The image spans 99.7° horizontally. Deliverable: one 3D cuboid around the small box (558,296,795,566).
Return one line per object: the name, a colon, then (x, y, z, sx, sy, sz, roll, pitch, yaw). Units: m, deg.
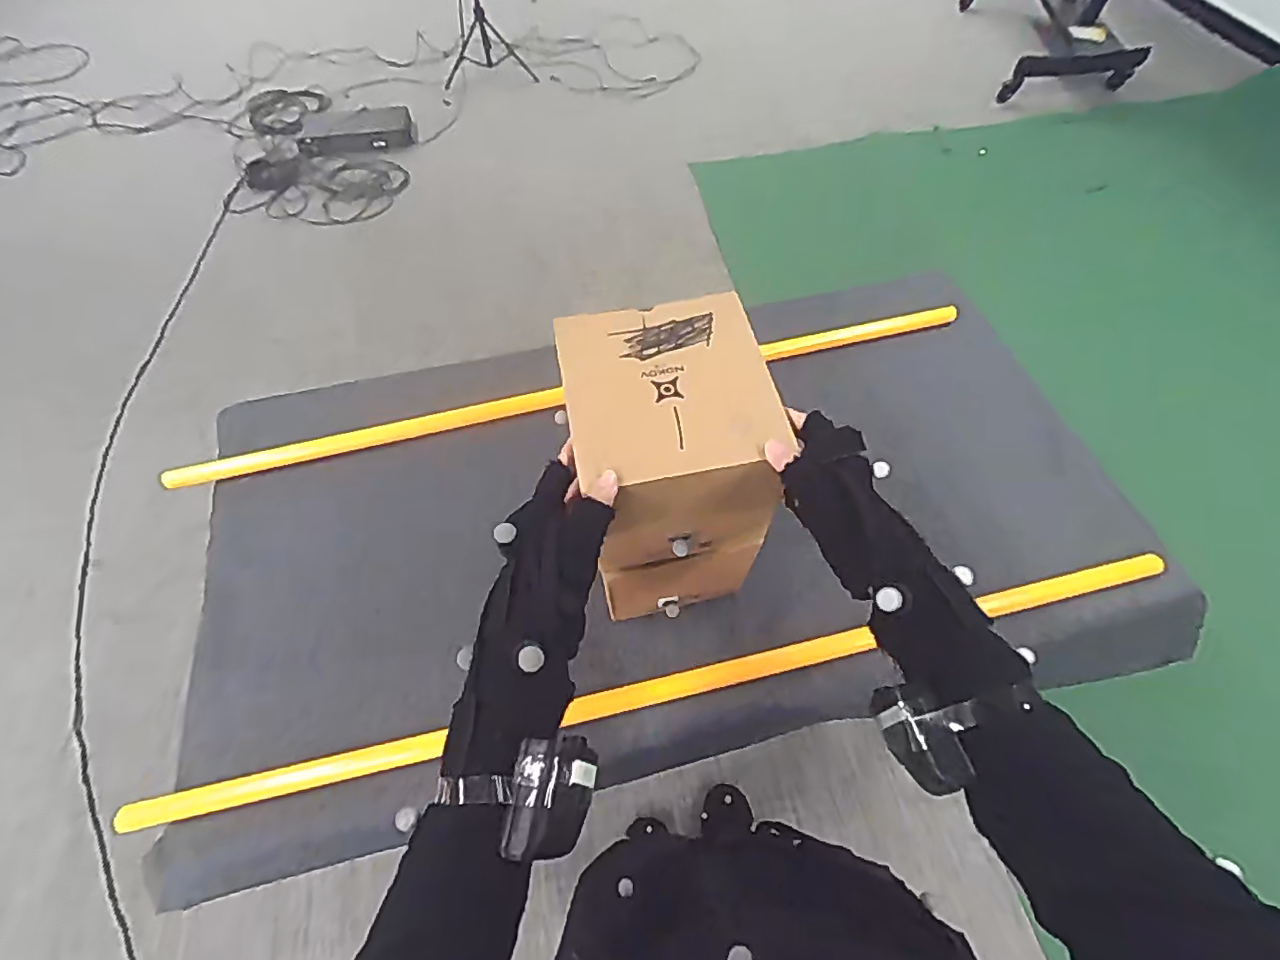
small box: (0.023, -0.039, 0.506, 0.168, 0.176, 0.179, -10, 62, -4)

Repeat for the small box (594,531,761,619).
small box: (0.025, 0.046, 0.647, 0.168, 0.176, 0.179, -14, 62, -6)
